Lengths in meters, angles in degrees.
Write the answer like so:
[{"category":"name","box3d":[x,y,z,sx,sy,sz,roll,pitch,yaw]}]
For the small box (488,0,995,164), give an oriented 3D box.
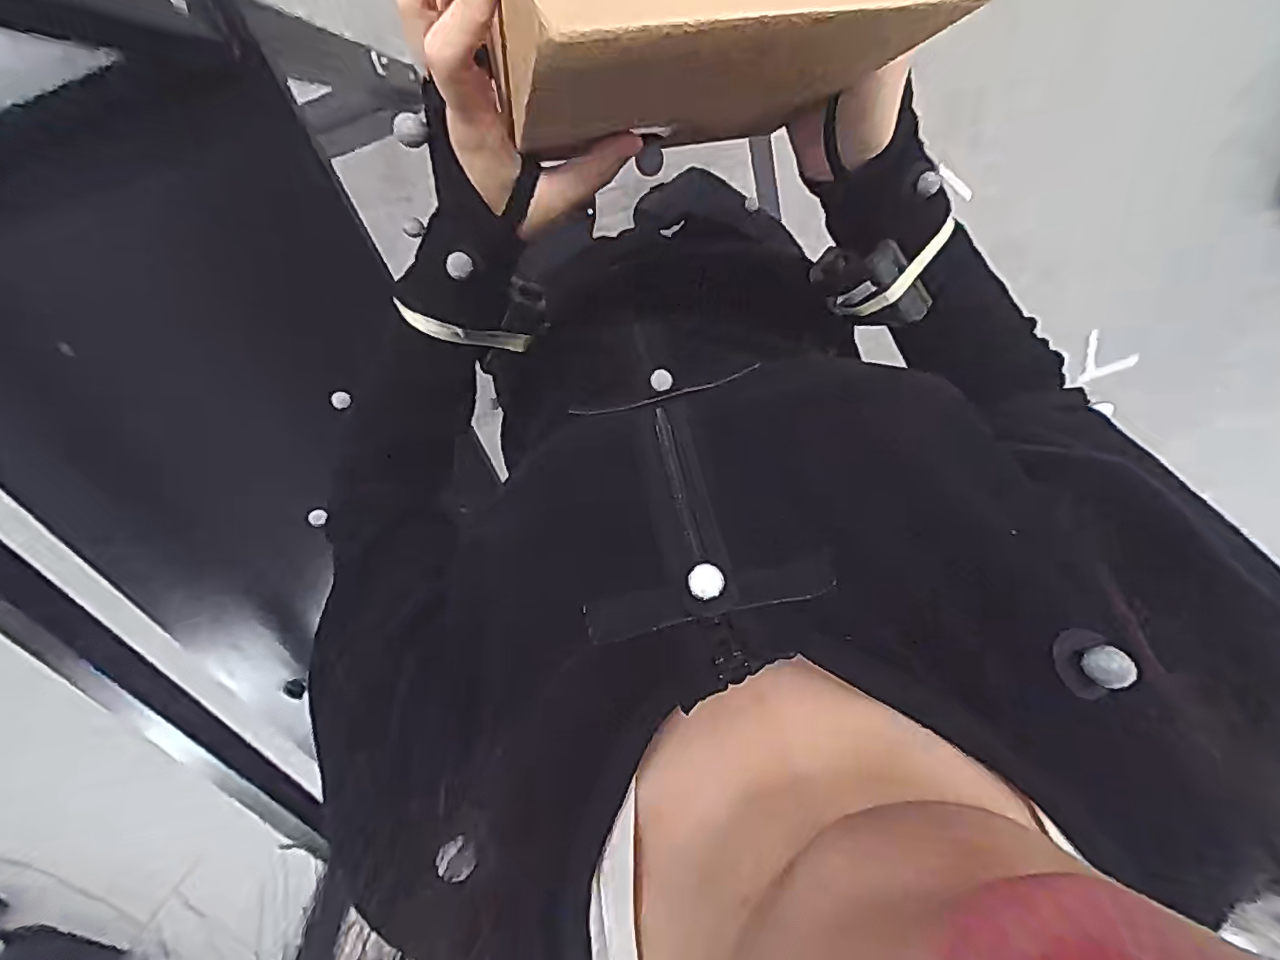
[{"category":"small box","box3d":[0.017,-0.255,0.222,0.168,0.176,0.179,-14,111,-11]}]
